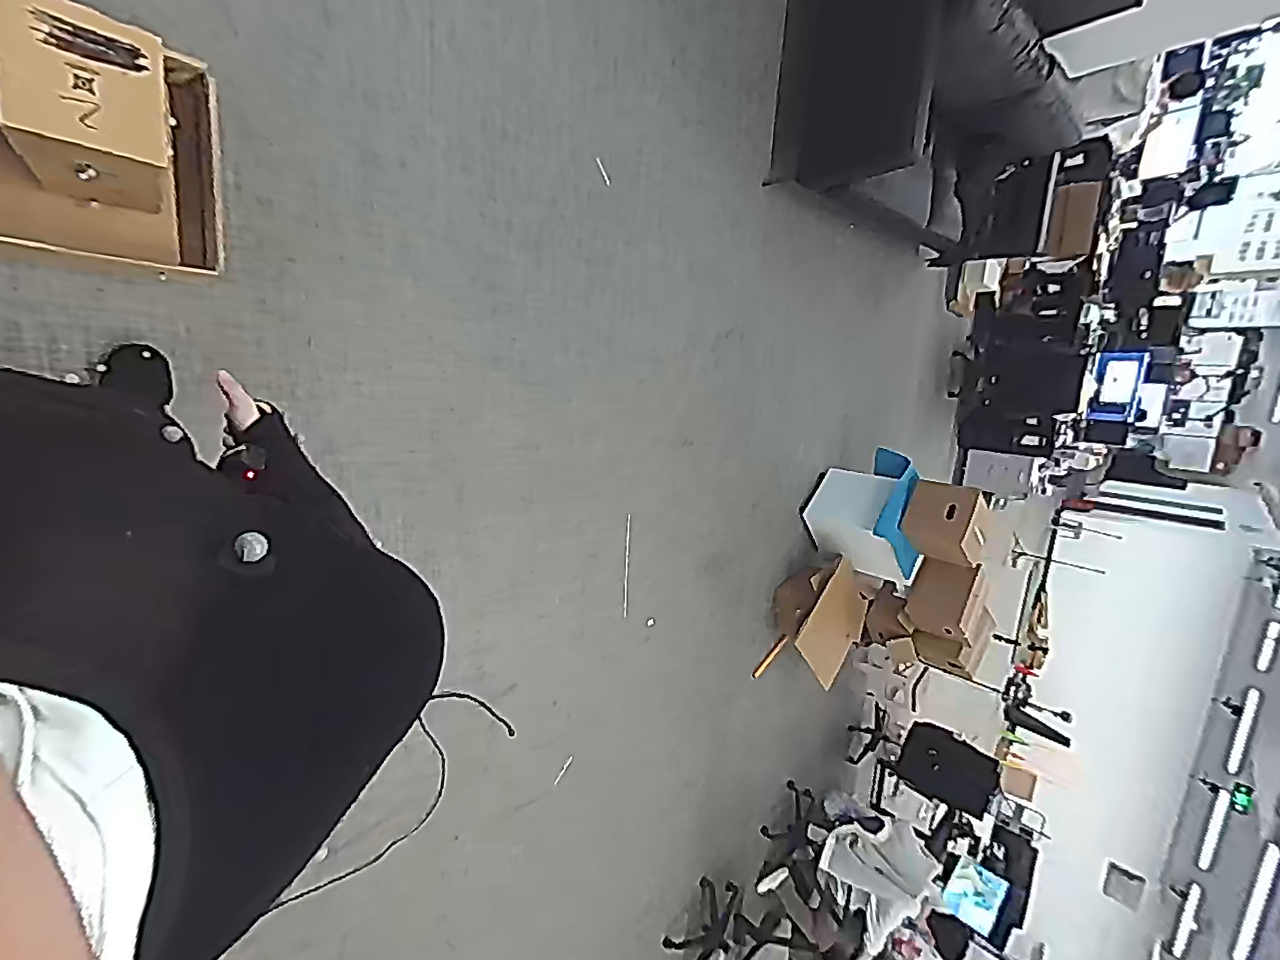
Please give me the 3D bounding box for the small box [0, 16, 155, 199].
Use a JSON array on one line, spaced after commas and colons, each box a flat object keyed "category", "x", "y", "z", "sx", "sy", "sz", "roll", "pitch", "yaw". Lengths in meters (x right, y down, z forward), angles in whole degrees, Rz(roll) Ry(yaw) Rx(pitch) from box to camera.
[{"category": "small box", "x": -0.915, "y": -0.590, "z": 0.886, "sx": 0.168, "sy": 0.176, "sz": 0.179, "roll": -5, "pitch": 103, "yaw": -43}]
